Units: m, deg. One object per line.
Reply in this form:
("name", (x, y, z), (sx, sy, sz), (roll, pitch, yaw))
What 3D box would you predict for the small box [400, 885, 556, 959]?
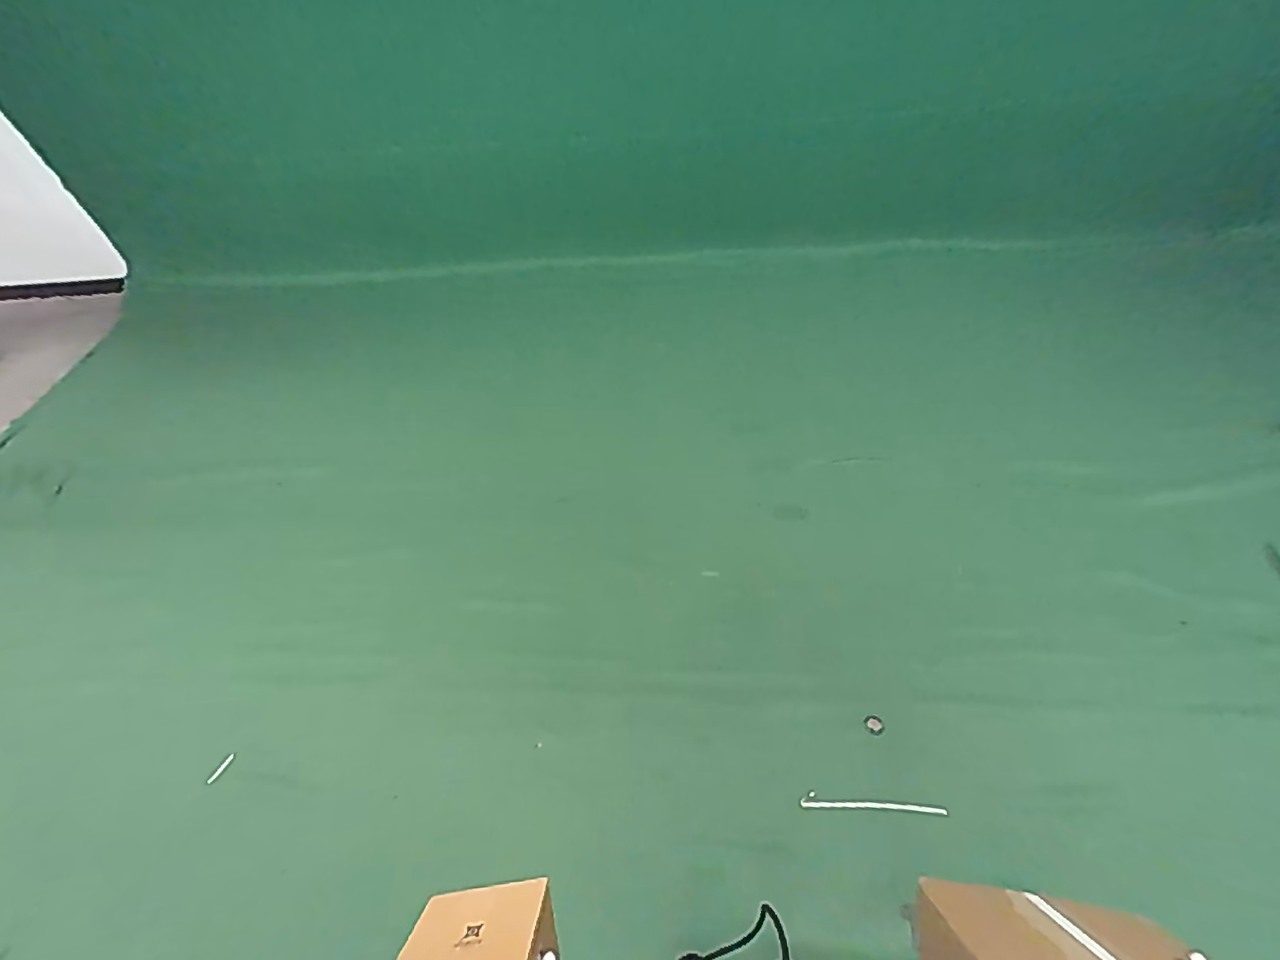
("small box", (-0.197, 0.648, 0.661), (0.168, 0.179, 0.176), (-9, 86, -1))
